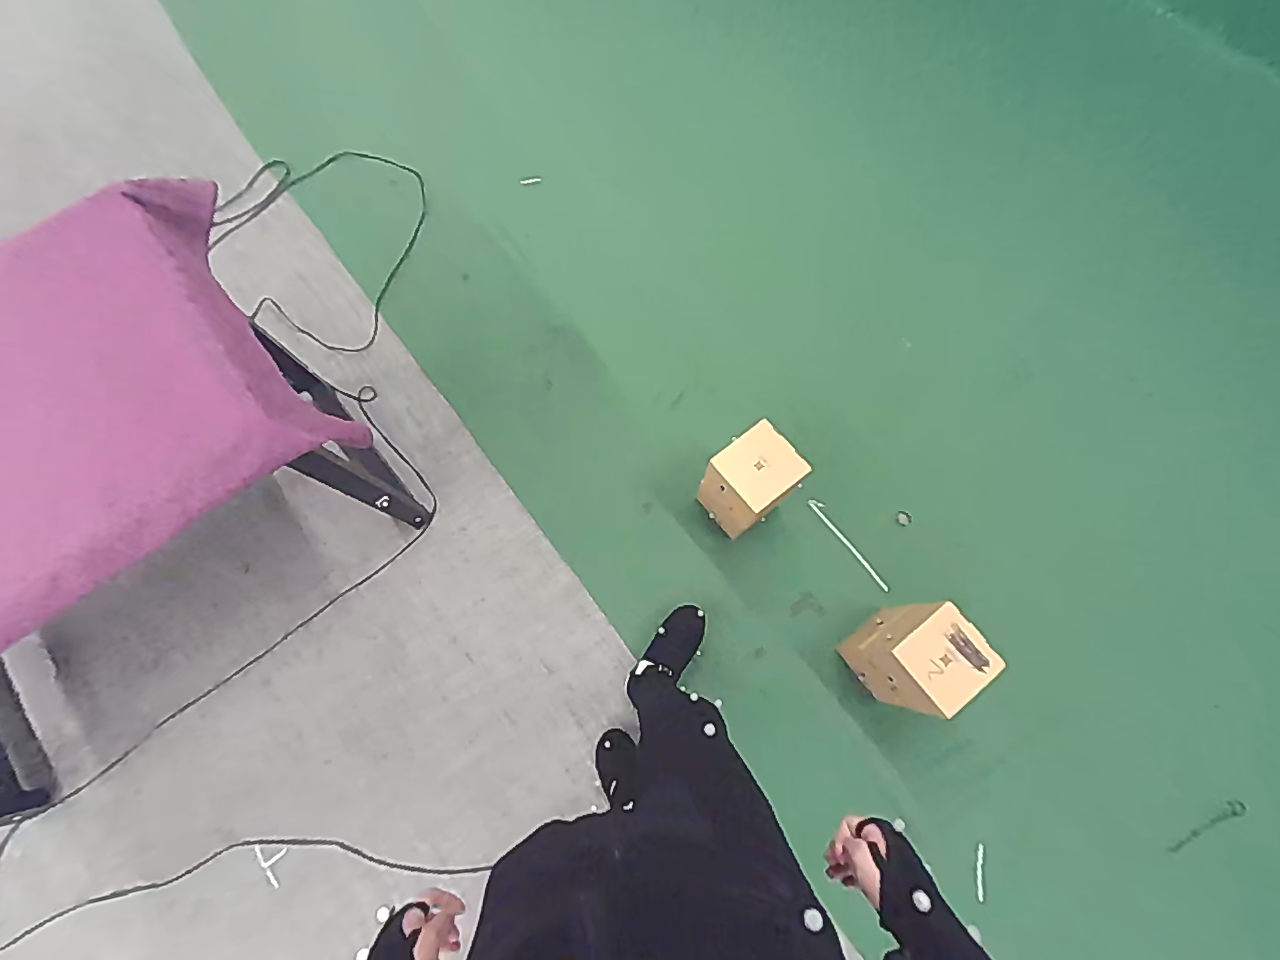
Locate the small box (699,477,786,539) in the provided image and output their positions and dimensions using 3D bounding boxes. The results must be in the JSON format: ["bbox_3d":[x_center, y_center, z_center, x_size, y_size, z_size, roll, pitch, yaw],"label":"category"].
[{"bbox_3d":[0.278,0.038,1.473,0.179,0.176,0.168,-37,75,-9],"label":"small box"}]

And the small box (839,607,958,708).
[{"bbox_3d":[0.633,0.437,1.347,0.179,0.176,0.168,-35,76,-9],"label":"small box"}]

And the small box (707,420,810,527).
[{"bbox_3d":[0.278,-0.008,1.318,0.179,0.176,0.168,-37,75,-11],"label":"small box"}]
